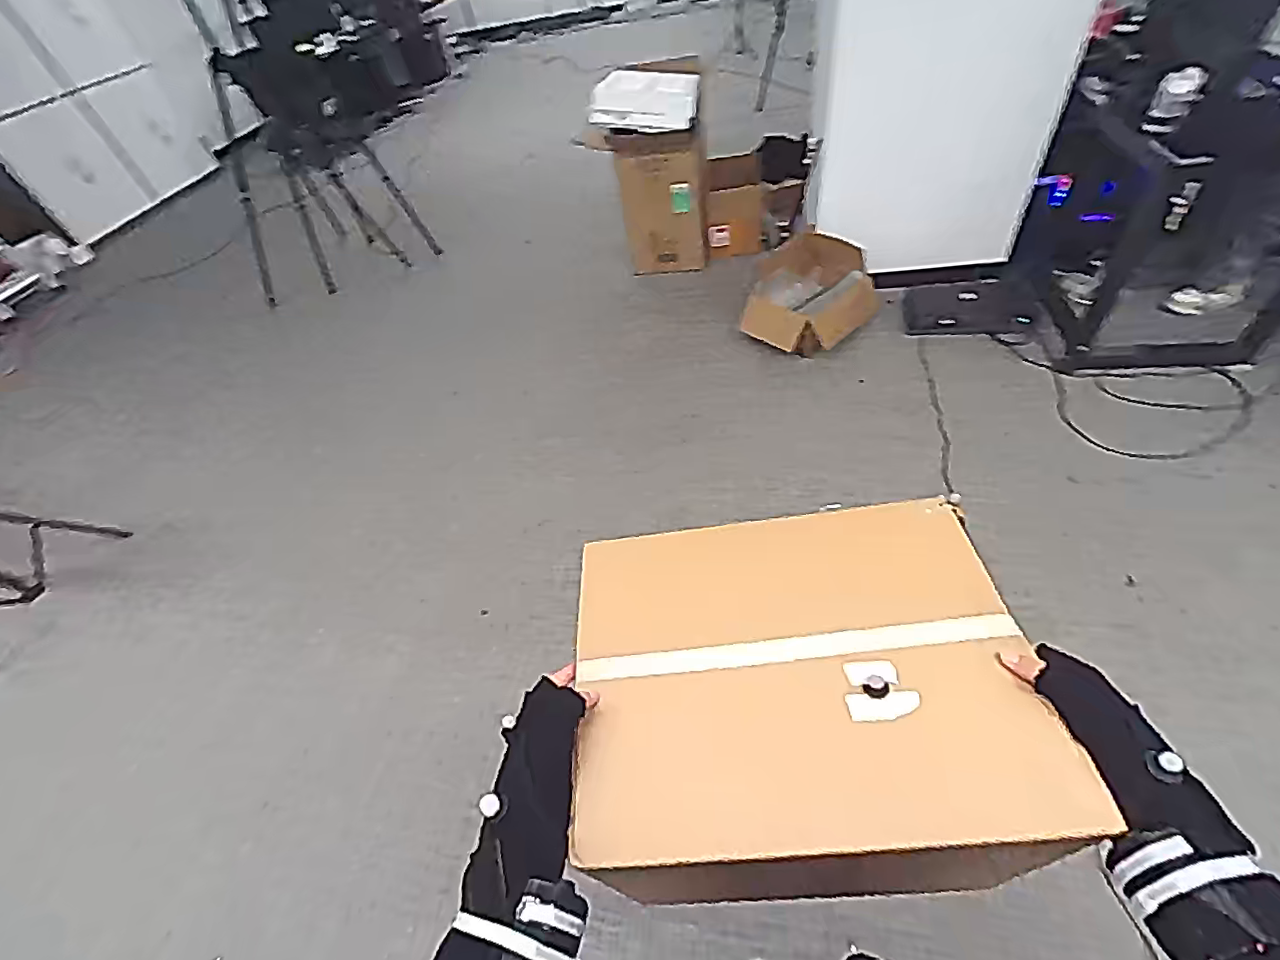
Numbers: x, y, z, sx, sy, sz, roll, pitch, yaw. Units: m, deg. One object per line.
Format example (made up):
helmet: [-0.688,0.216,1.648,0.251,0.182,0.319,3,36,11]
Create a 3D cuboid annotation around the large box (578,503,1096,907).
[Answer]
large box: [0.162,0.266,0.623,0.408,0.320,0.320,-9,46,6]
